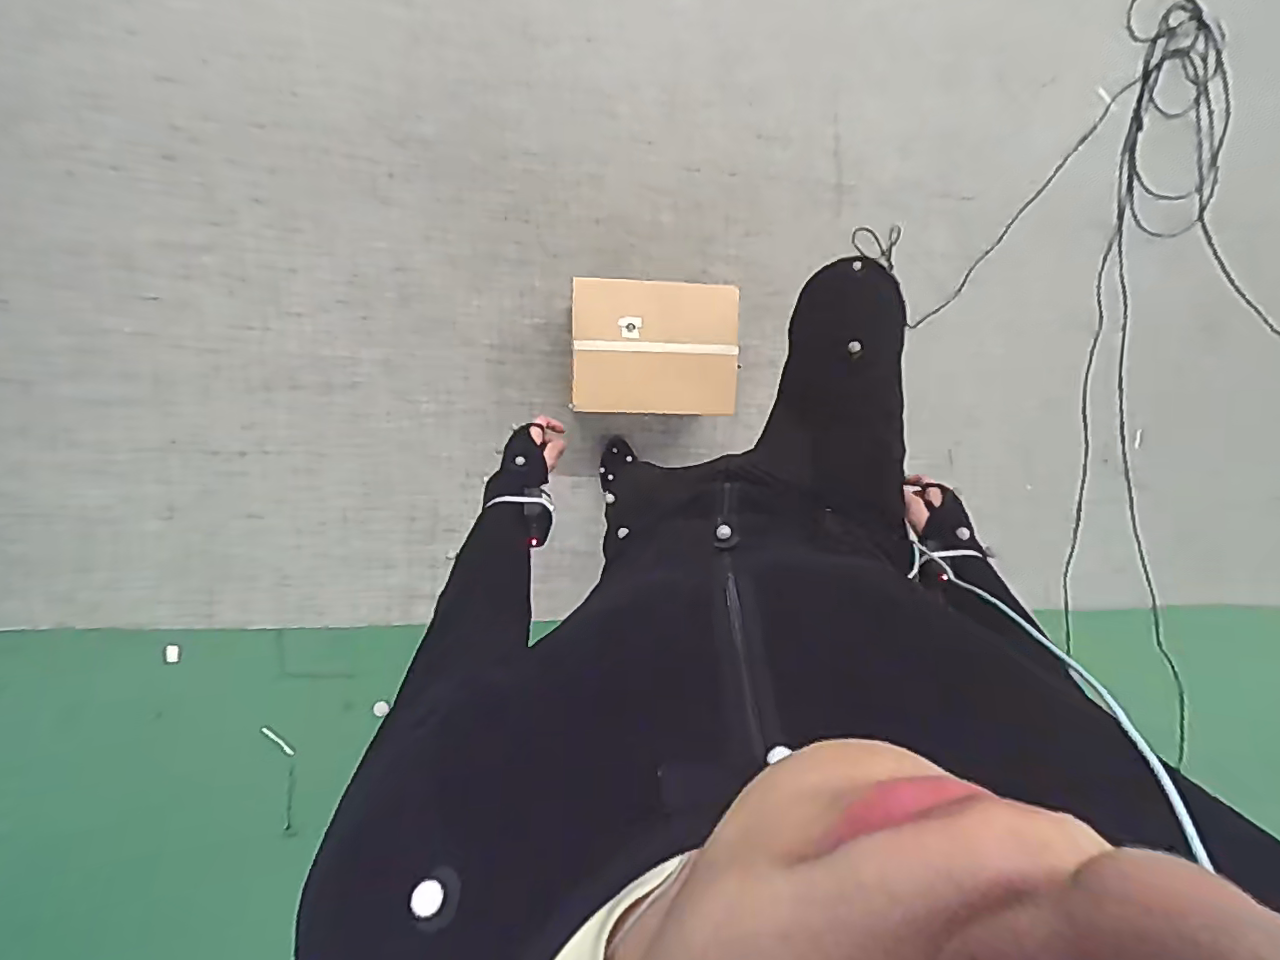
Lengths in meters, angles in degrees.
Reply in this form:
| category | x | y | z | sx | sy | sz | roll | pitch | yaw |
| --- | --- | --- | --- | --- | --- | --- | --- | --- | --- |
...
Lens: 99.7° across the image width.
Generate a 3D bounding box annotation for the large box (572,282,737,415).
| category | x | y | z | sx | sy | sz | roll | pitch | yaw |
| --- | --- | --- | --- | --- | --- | --- | --- | --- | --- |
| large box | 0.025 | -0.334 | 1.450 | 0.408 | 0.320 | 0.320 | -1 | 96 | -7 |
